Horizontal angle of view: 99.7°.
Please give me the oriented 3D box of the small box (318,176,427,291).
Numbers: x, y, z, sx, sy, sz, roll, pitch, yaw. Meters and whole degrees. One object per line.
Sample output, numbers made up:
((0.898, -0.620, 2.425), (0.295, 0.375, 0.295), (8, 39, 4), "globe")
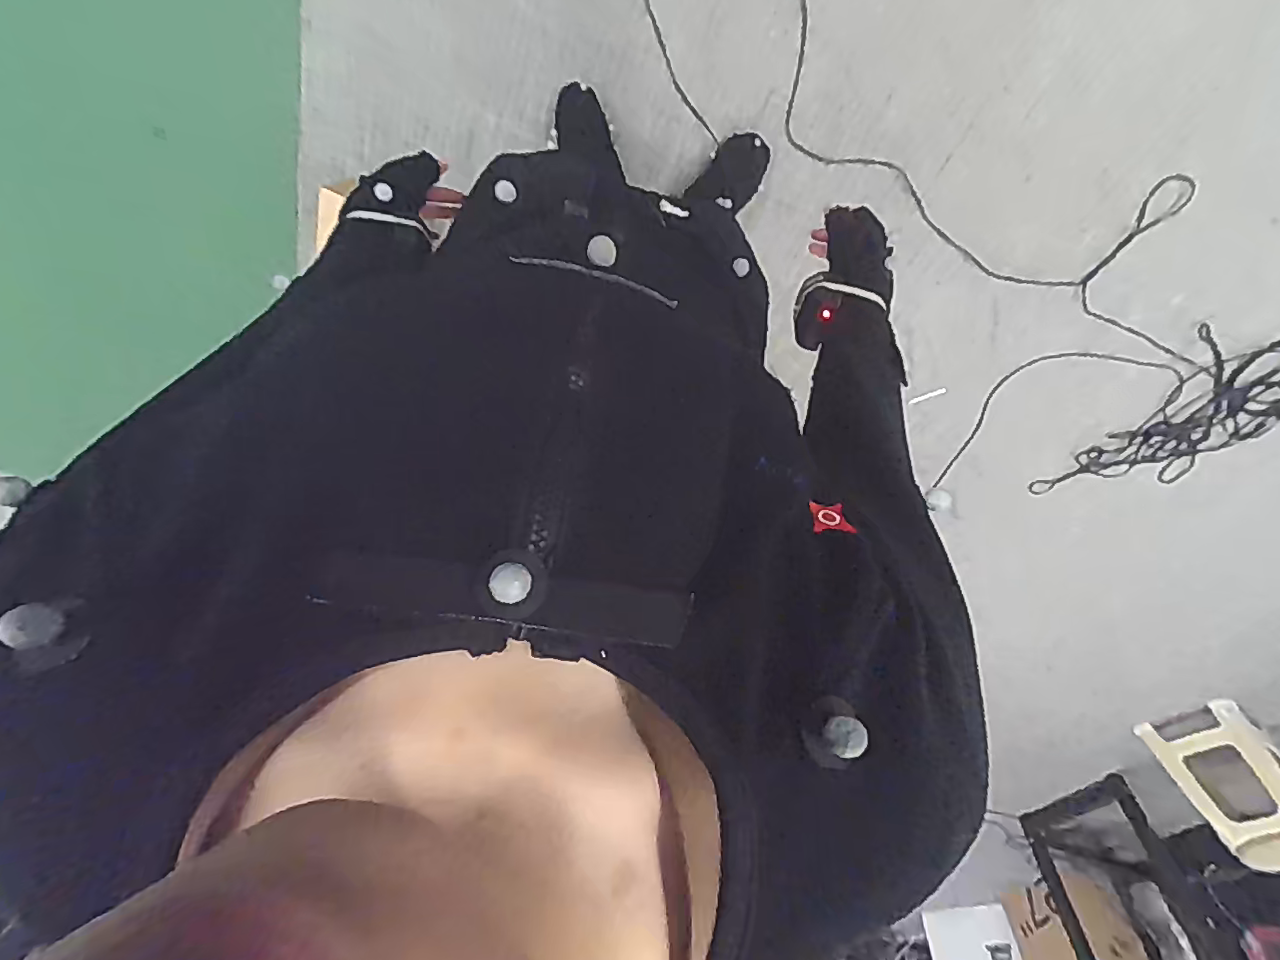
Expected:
((-0.616, -0.577, 1.255), (0.168, 0.176, 0.179), (22, 126, -9), "small box")
